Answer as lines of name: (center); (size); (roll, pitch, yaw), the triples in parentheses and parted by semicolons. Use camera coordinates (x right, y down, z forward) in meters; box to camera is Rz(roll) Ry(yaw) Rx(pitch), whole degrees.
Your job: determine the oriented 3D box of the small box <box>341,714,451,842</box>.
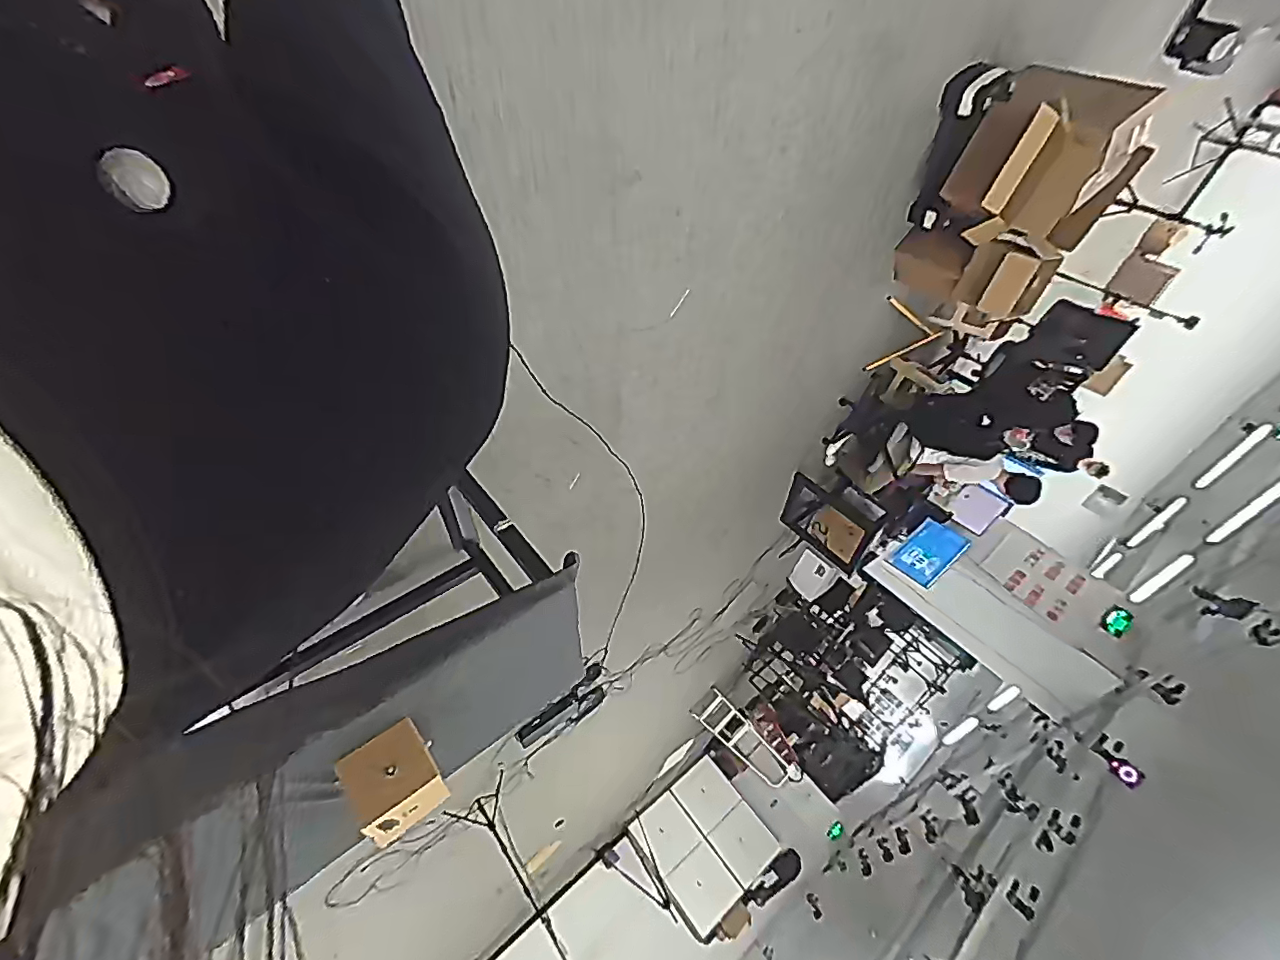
small box: (-0.575, 0.695, 1.270); (0.179, 0.176, 0.168); (-29, 146, -30)
